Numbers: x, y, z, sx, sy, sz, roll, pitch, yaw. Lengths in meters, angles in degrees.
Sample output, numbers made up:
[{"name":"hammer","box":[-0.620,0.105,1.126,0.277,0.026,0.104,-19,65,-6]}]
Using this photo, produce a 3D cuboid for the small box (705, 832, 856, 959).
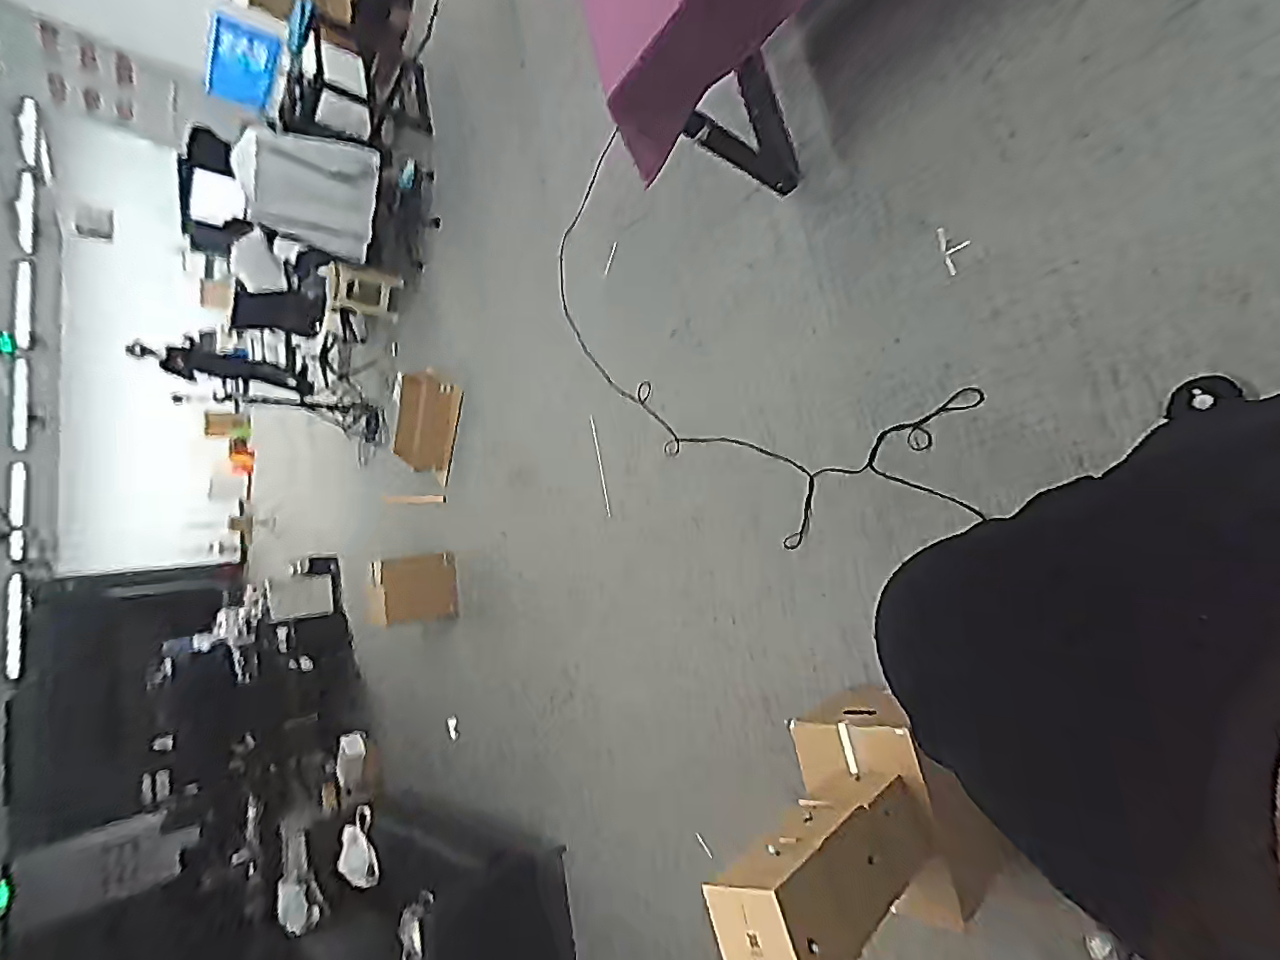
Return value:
[{"name":"small box","box":[0.250,0.761,0.958,0.168,0.176,0.179,-33,67,40]}]

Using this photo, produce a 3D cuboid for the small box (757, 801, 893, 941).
[{"name":"small box","box":[0.368,0.759,1.074,0.168,0.176,0.179,-32,67,41]}]
